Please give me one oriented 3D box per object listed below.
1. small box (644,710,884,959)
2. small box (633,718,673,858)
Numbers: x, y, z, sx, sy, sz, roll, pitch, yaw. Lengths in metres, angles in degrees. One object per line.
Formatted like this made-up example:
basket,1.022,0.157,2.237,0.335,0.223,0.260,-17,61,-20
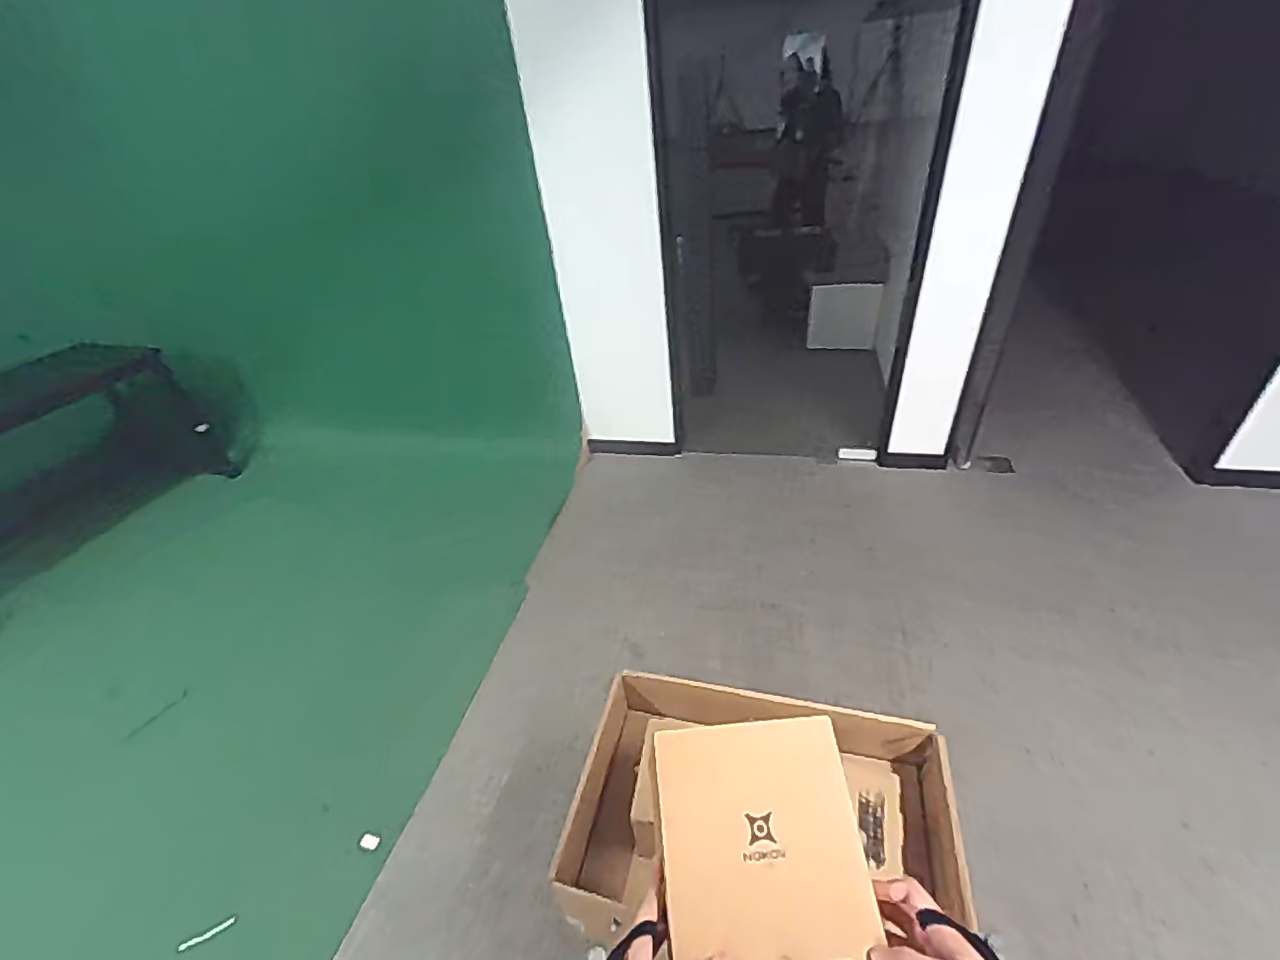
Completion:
small box,0.093,0.332,0.510,0.168,0.176,0.179,-4,56,-3
small box,0.091,0.561,0.968,0.168,0.176,0.179,2,38,13
